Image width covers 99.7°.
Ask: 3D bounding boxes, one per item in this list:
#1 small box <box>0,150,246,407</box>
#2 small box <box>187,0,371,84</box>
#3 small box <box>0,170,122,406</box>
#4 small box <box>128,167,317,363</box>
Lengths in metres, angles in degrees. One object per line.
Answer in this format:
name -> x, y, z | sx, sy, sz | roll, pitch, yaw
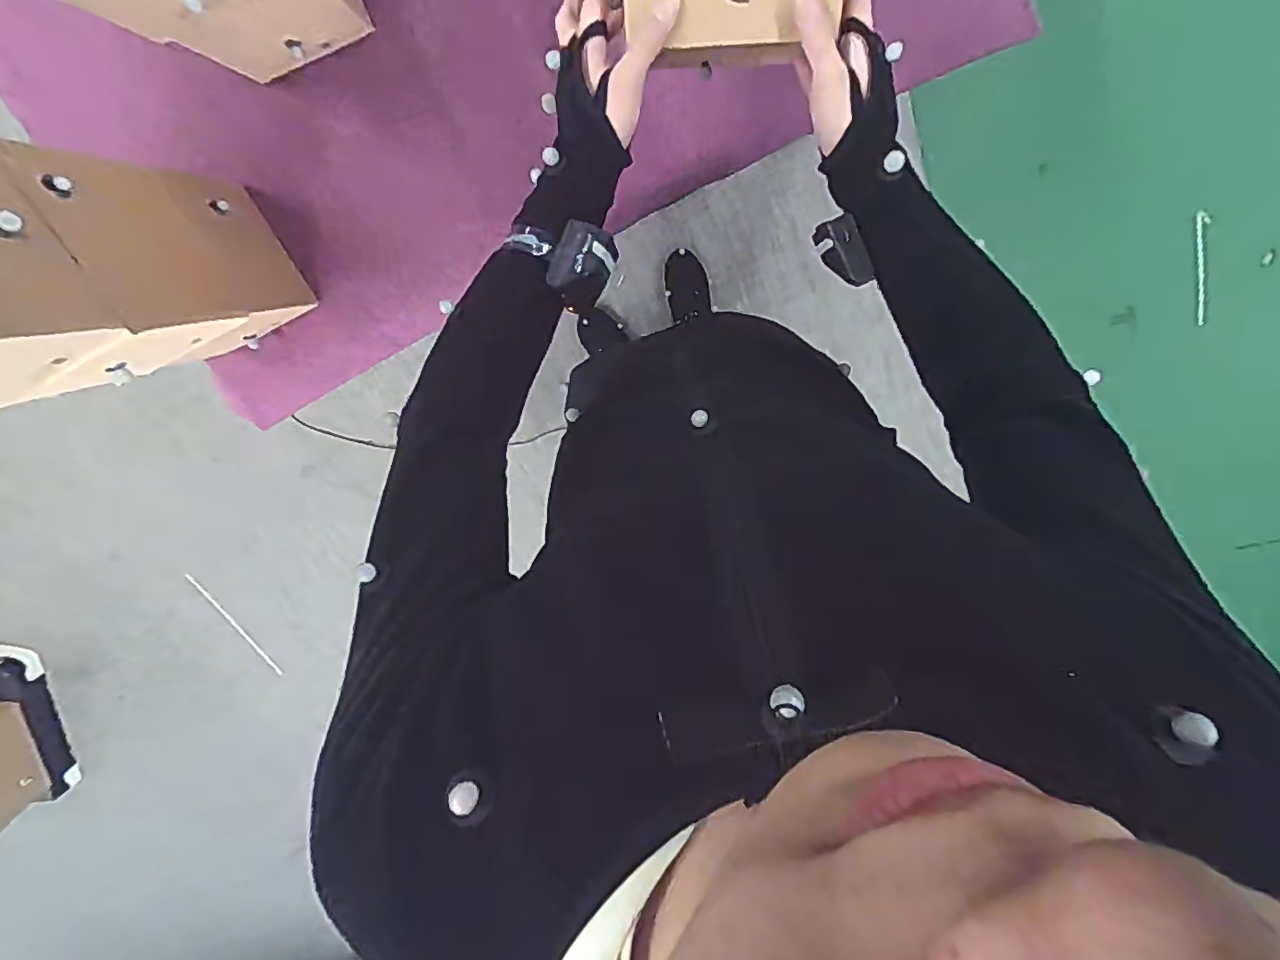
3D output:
small box -> -0.563, -0.200, 0.550 | 0.168, 0.176, 0.179 | -23, 109, 9
small box -> -0.431, -0.570, 0.576 | 0.168, 0.176, 0.179 | -18, 112, 6
small box -> -0.566, -0.144, 0.395 | 0.168, 0.176, 0.179 | -25, 108, 10
small box -> -0.573, -0.264, 0.698 | 0.168, 0.176, 0.179 | -23, 110, 9
